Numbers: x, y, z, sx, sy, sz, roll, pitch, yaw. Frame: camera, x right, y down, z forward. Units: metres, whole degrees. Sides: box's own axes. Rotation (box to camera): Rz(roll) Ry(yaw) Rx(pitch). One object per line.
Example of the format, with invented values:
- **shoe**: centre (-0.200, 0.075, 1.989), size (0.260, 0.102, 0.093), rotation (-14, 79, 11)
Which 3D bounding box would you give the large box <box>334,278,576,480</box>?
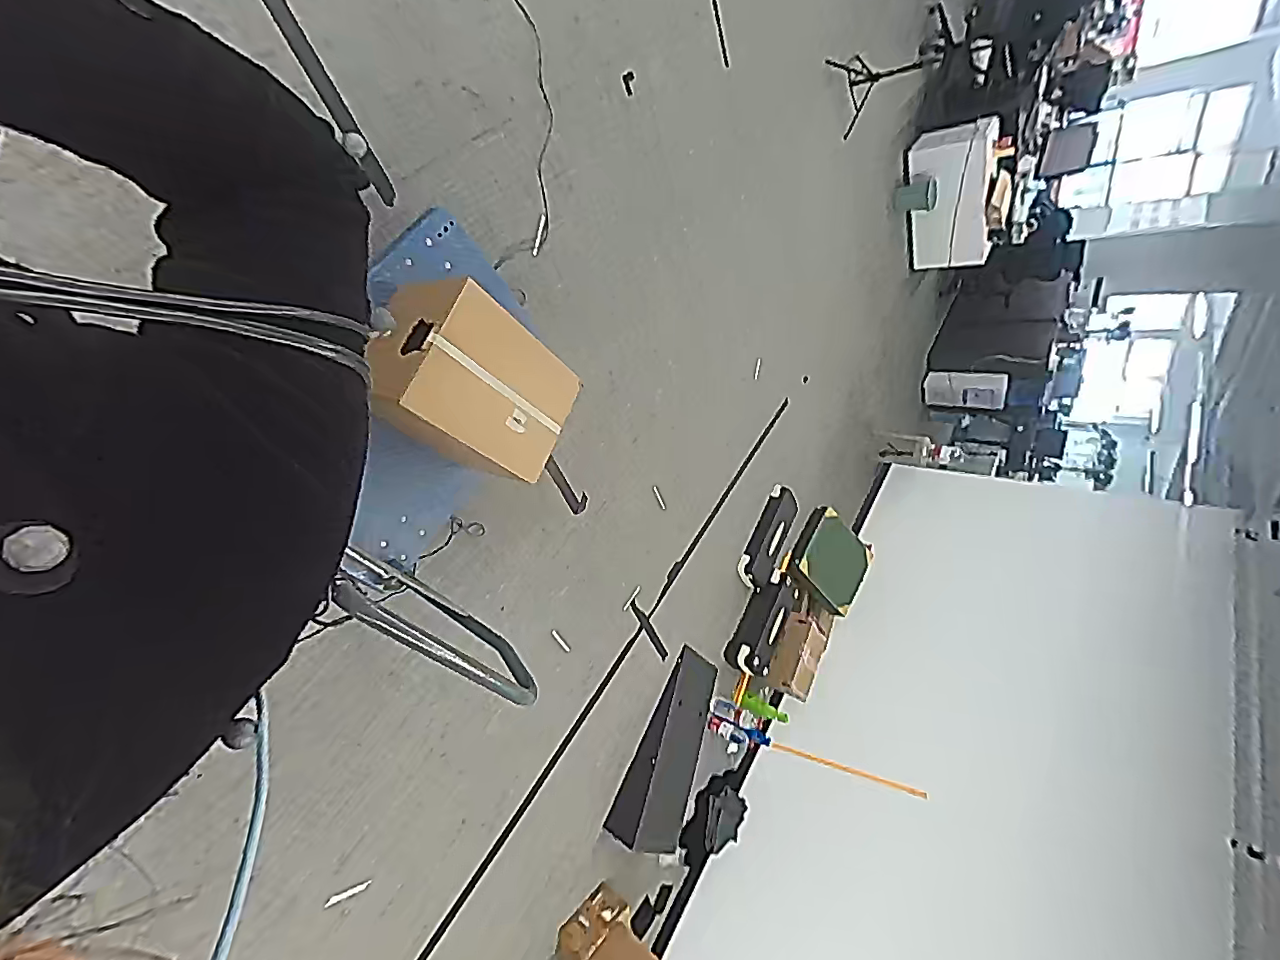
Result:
- **large box**: centre (-0.440, -0.237, 1.332), size (0.408, 0.320, 0.320), rotation (39, 70, -49)
